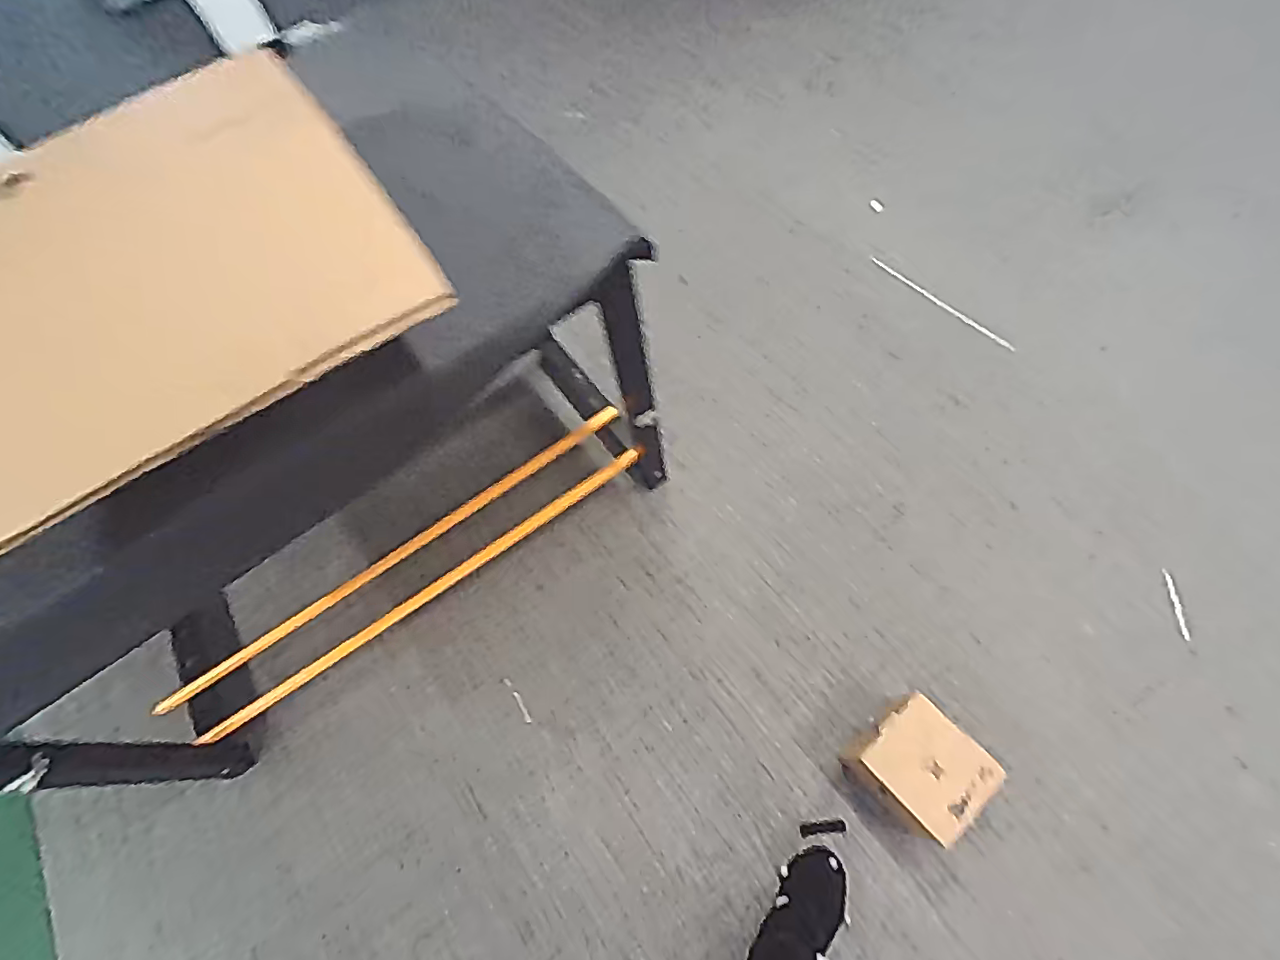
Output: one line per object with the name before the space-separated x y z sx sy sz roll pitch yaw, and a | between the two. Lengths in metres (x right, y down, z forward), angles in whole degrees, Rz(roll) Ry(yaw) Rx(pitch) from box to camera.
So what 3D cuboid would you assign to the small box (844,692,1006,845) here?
small box | 0.502 0.520 0.983 0.168 0.176 0.179 -40 65 -13
